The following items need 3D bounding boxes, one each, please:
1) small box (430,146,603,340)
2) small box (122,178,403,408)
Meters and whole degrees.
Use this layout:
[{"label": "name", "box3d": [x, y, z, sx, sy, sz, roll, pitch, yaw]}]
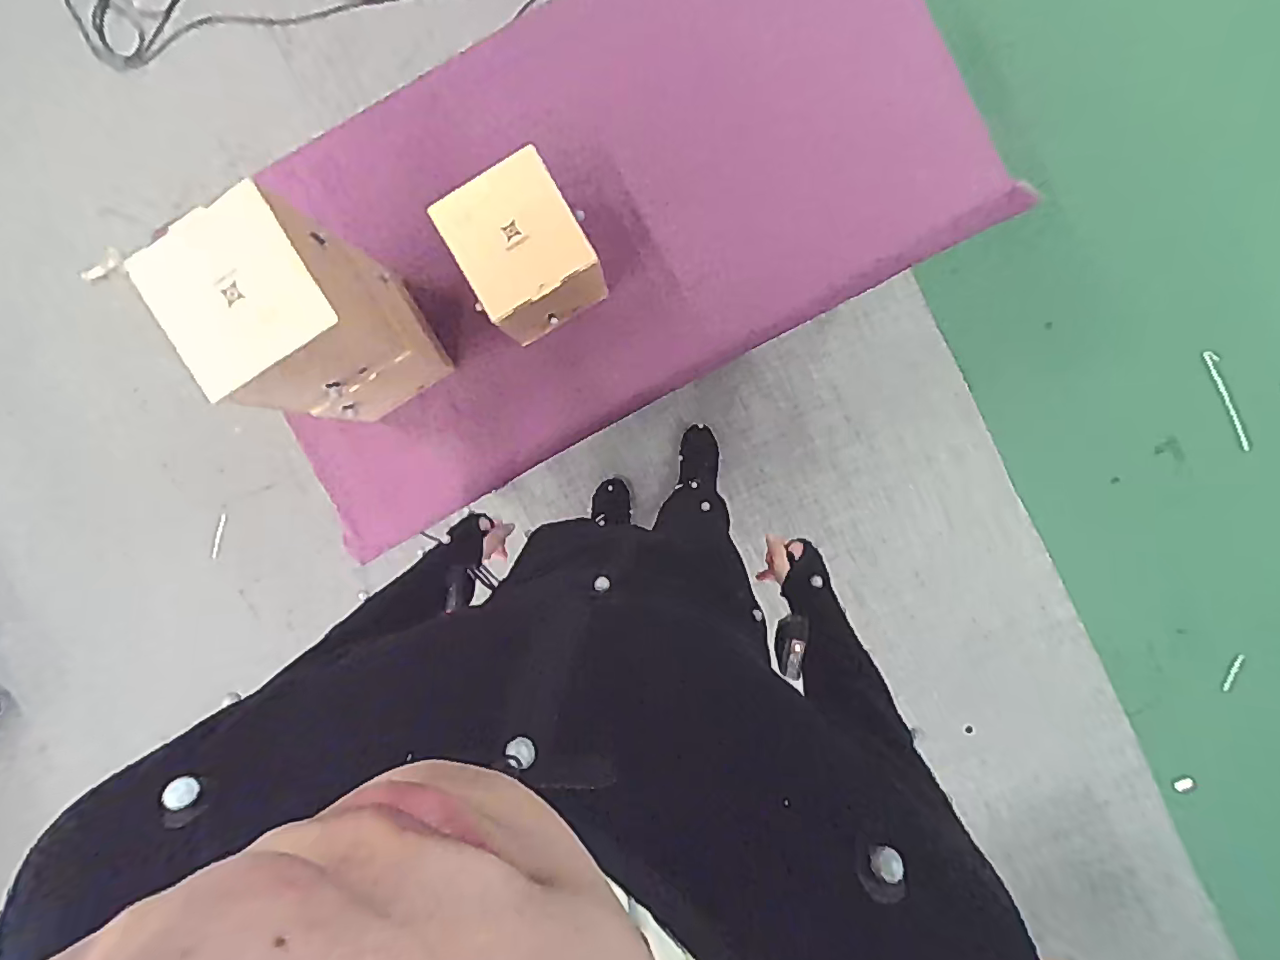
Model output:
[{"label": "small box", "box3d": [-0.169, -0.331, 0.794, 0.168, 0.176, 0.179, -31, 94, 2]}, {"label": "small box", "box3d": [-0.422, -0.201, 0.637, 0.168, 0.176, 0.179, -31, 93, 2]}]
